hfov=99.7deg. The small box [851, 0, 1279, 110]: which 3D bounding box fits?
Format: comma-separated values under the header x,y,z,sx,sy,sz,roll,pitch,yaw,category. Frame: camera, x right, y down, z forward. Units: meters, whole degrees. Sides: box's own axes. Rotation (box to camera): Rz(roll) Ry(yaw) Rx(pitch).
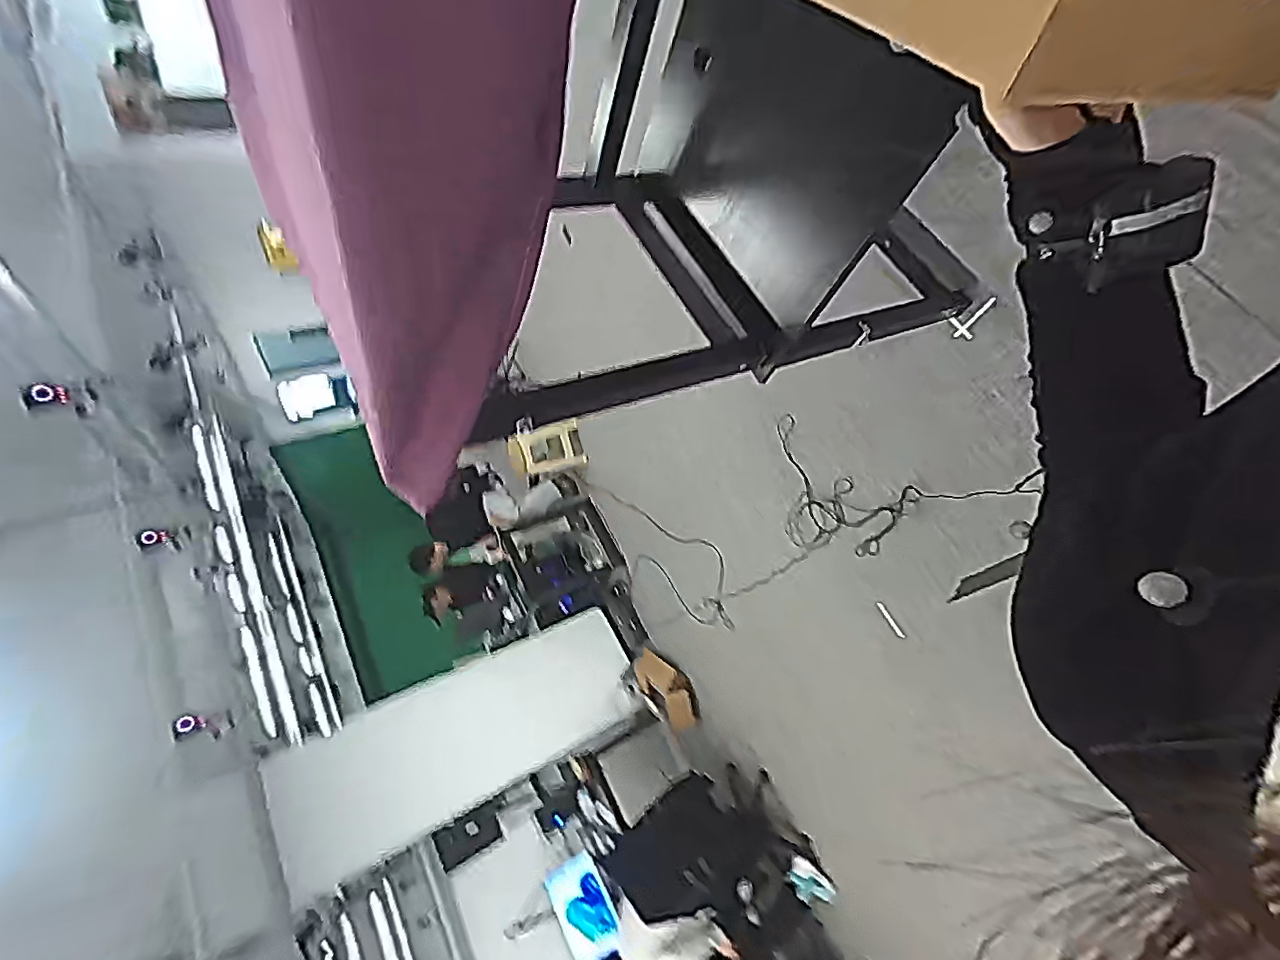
x,y,z,sx,sy,sz,roll,pitch,yaw,category
0.182,-0.259,0.184,0.179,0.168,0.176,103,150,-51,small box
